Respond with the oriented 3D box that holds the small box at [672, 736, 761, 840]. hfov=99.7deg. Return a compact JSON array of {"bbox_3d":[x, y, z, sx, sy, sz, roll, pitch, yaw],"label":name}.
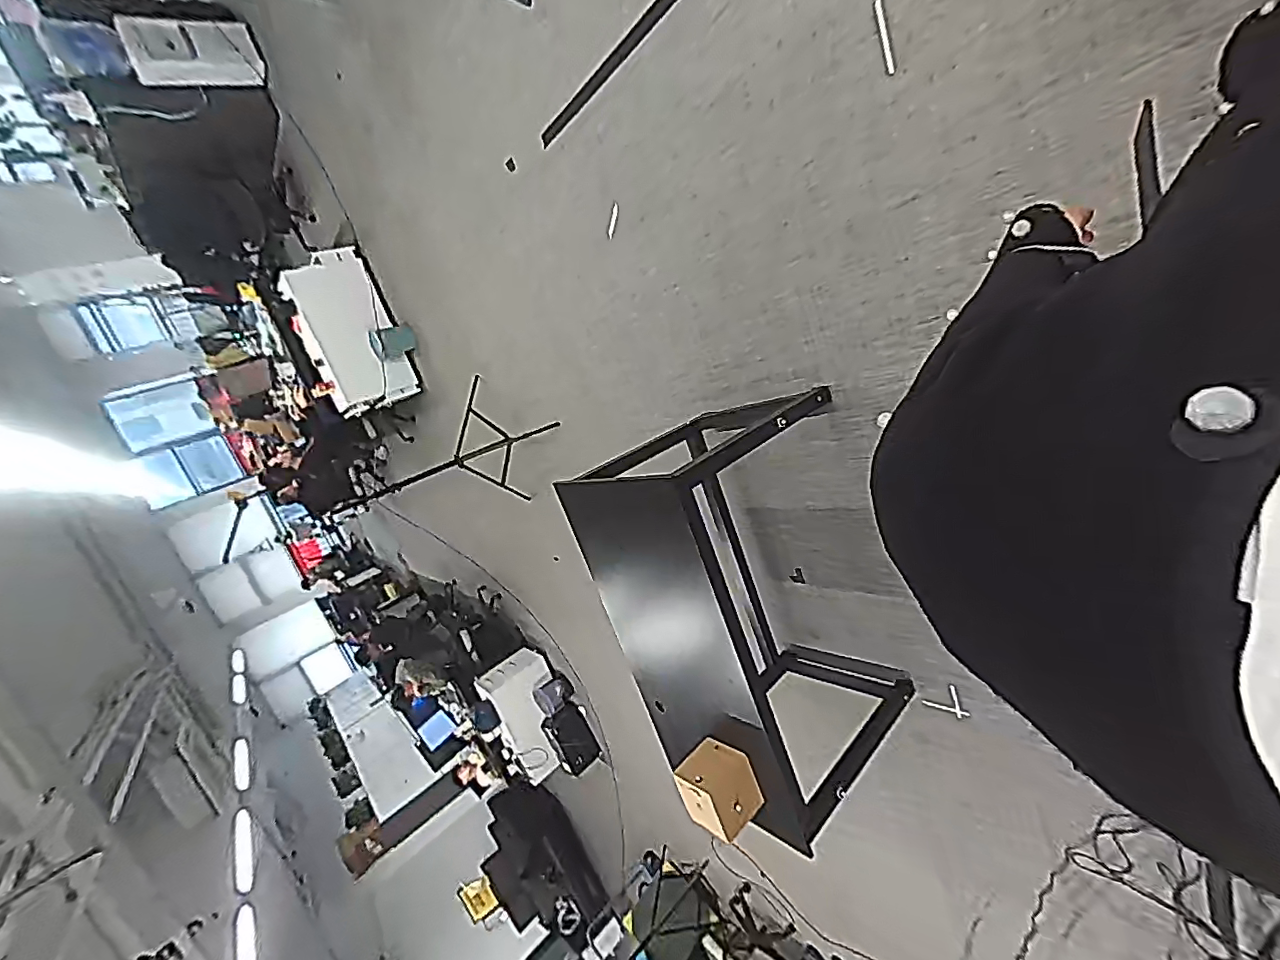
[{"bbox_3d":[0.232,0.908,1.611,0.168,0.176,0.179,-6,110,54],"label":"small box"}]
